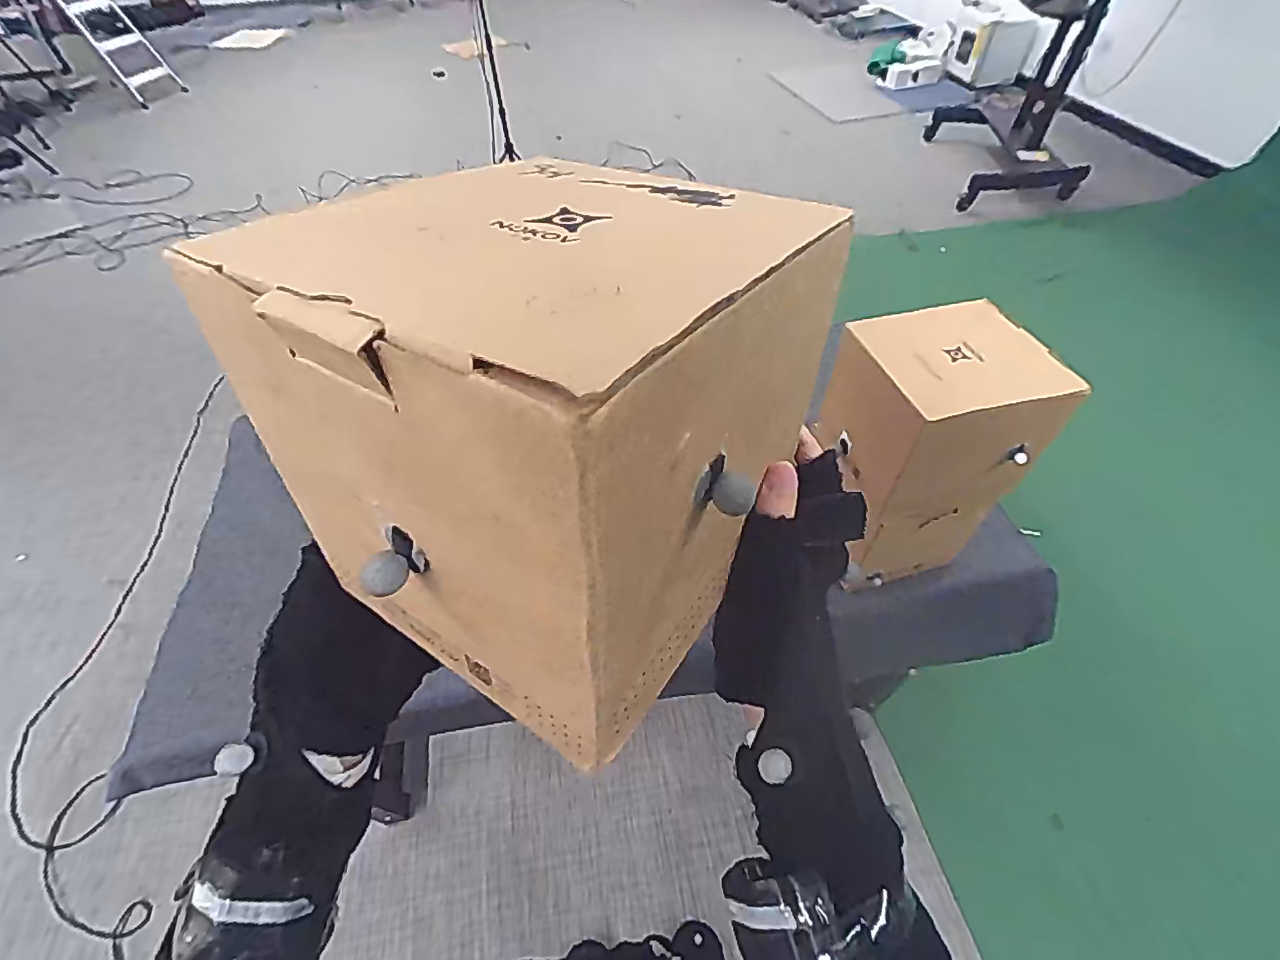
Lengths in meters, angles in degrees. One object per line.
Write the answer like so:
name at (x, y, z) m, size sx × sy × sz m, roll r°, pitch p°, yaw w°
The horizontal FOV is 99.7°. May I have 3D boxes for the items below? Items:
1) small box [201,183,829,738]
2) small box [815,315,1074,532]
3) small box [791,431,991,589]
small box at (-0.035, -0.022, 0.253) m, size 0.168 × 0.176 × 0.179 m, roll 24°, pitch 45°, yaw 24°
small box at (0.329, -0.063, 0.629) m, size 0.179 × 0.176 × 0.168 m, roll -12°, pitch 49°, yaw -6°
small box at (0.333, 0.034, 0.758) m, size 0.168 × 0.176 × 0.179 m, roll -13°, pitch 50°, yaw -8°
